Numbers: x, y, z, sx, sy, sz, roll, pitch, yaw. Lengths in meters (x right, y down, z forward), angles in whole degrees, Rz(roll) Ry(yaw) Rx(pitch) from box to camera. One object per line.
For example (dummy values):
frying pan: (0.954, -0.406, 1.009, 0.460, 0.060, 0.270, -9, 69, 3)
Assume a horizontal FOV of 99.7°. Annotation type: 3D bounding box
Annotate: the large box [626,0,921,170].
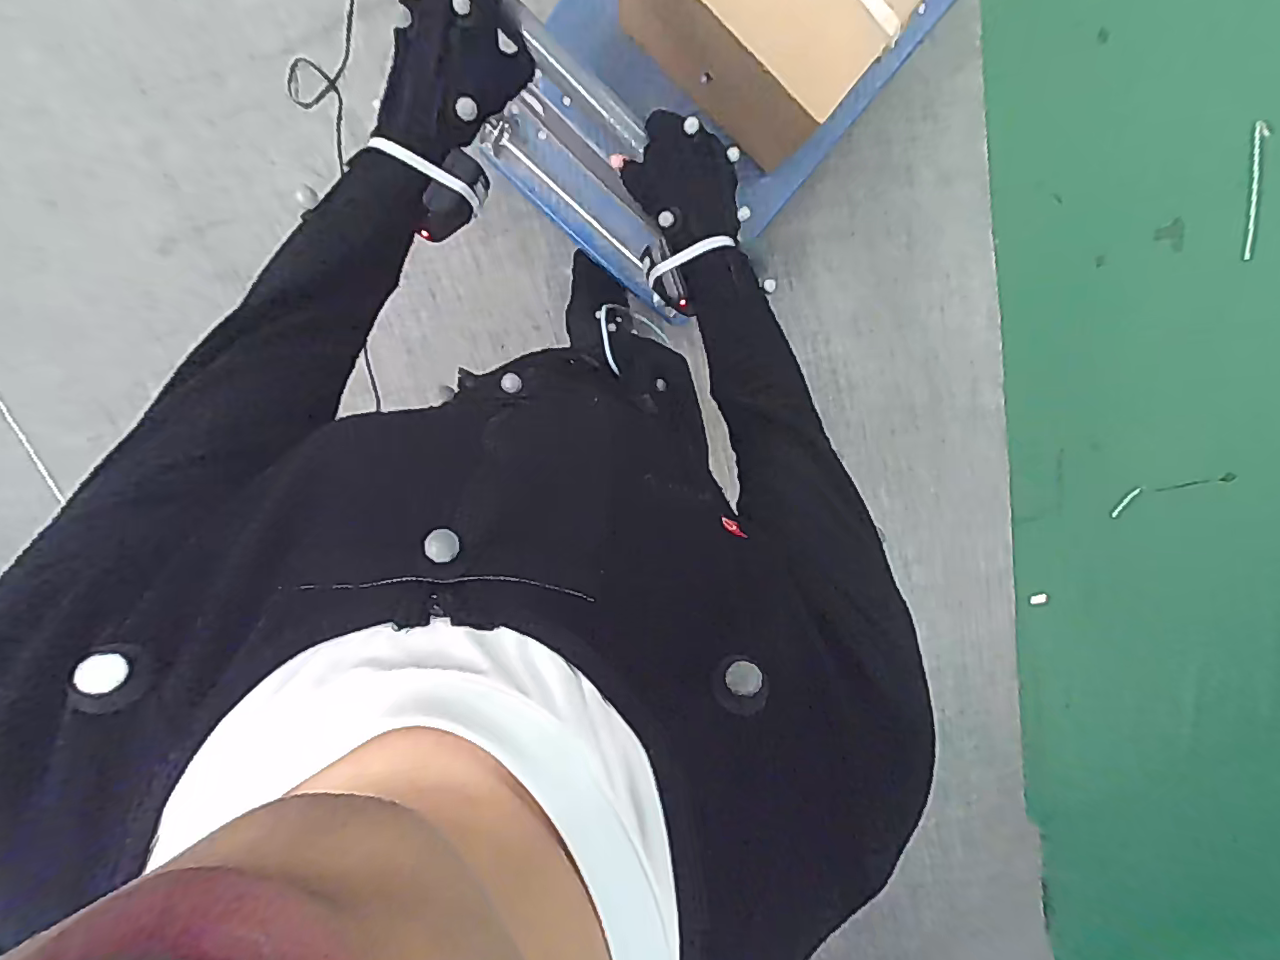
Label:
large box: (0.222, -0.828, 0.921, 0.408, 0.320, 0.320, 38, 101, -12)
